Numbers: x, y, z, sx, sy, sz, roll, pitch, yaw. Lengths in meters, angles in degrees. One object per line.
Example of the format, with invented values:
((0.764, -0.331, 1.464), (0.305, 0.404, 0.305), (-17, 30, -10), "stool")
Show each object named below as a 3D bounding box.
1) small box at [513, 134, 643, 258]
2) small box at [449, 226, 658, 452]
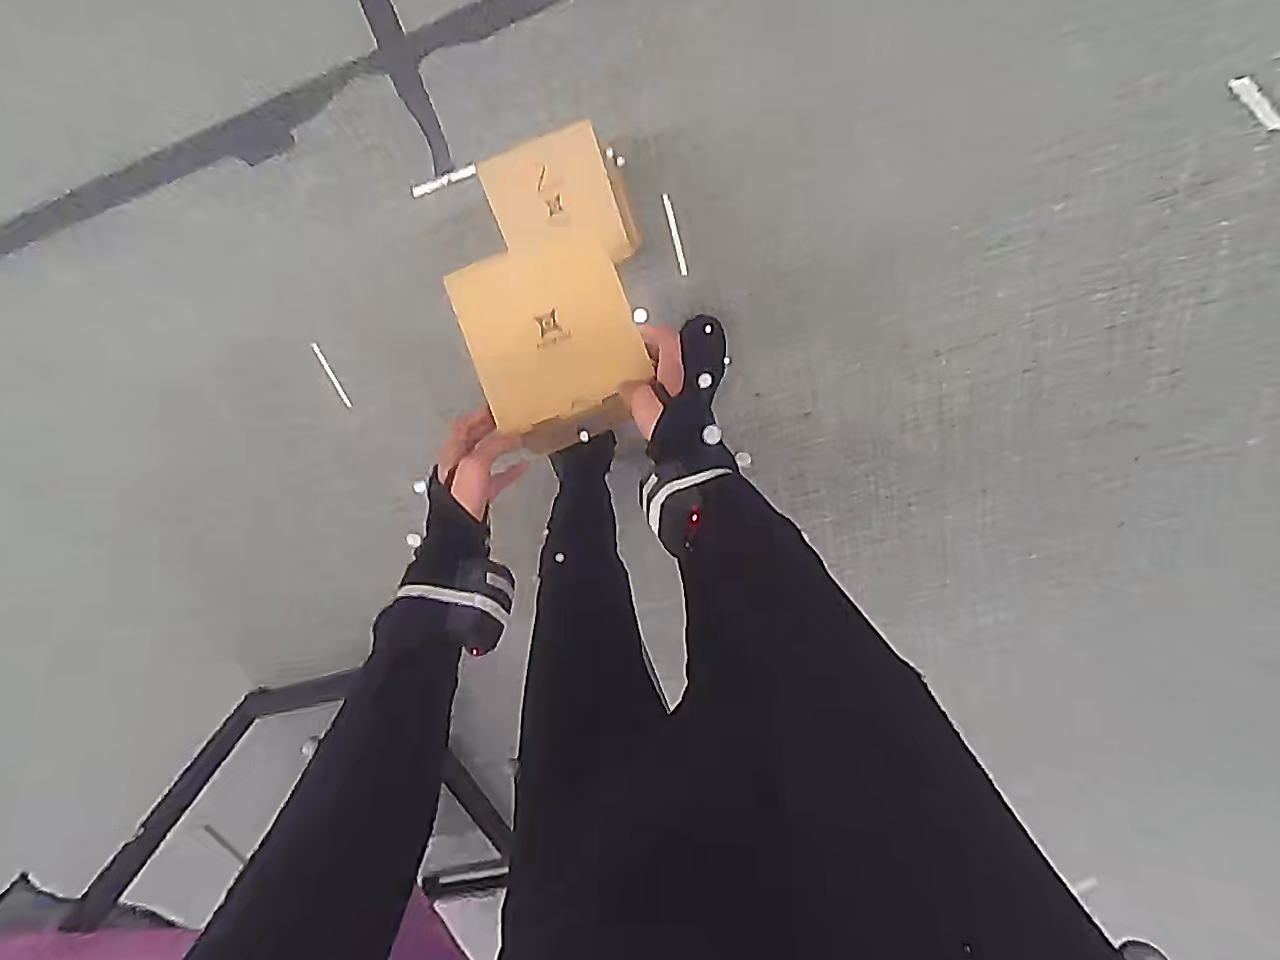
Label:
((-0.098, -0.476, 0.951), (0.168, 0.176, 0.179), (-17, 117, 11), "small box")
((-0.087, -0.143, 0.612), (0.168, 0.176, 0.179), (-20, 88, 0), "small box")
